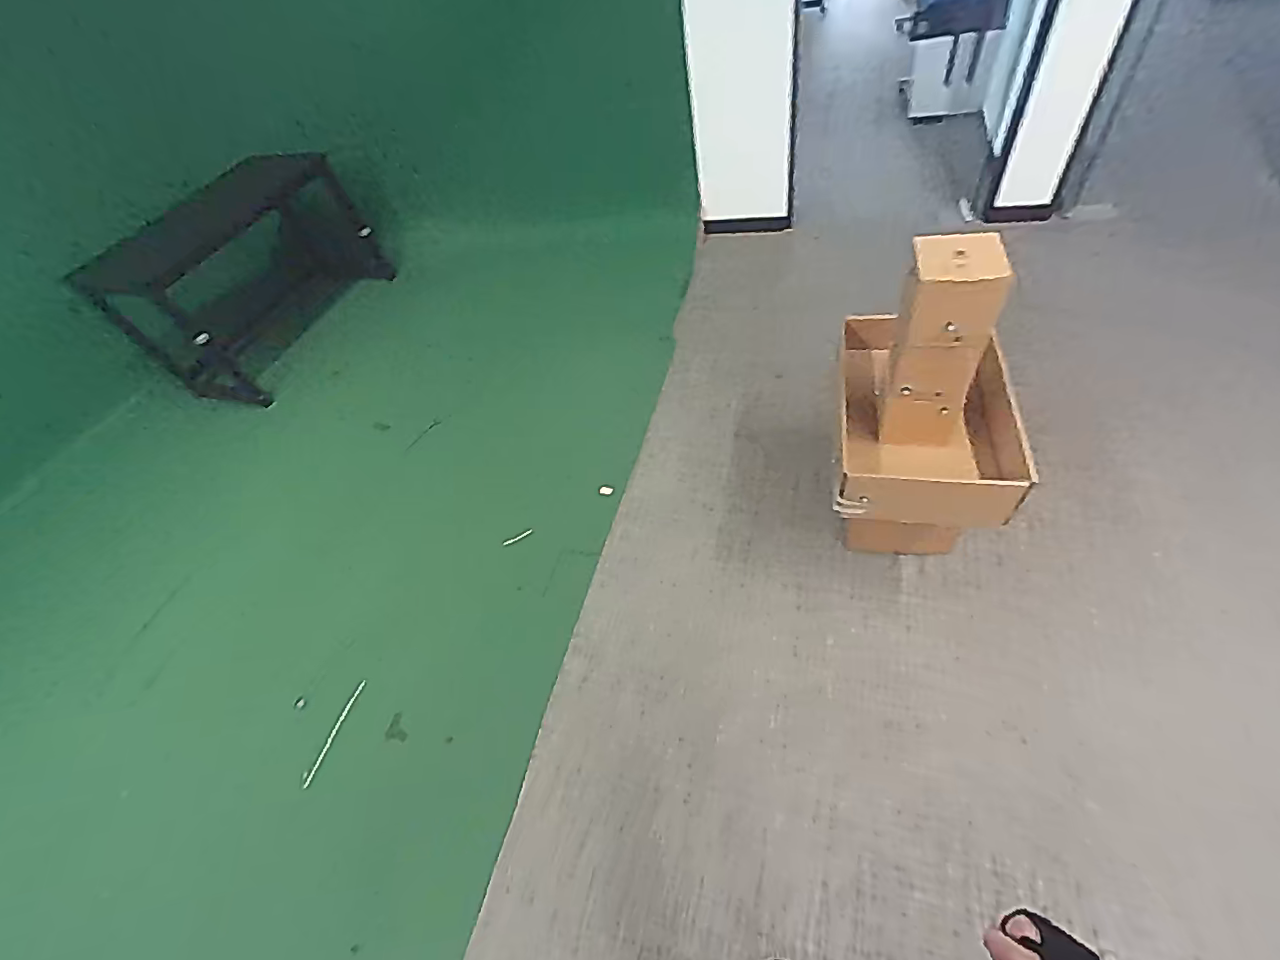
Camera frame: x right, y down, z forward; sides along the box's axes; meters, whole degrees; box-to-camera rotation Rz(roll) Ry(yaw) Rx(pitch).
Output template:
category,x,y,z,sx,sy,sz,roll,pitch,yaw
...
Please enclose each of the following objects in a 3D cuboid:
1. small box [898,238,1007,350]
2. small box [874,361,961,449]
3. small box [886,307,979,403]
category,x,y,z,sx,sy,sz,roll,pitch,yaw
small box,0.672,-0.407,1.185,0.168,0.176,0.179,4,52,16
small box,0.725,-0.199,1.435,0.179,0.176,0.168,4,52,15
small box,0.701,-0.305,1.312,0.168,0.176,0.179,6,52,16
